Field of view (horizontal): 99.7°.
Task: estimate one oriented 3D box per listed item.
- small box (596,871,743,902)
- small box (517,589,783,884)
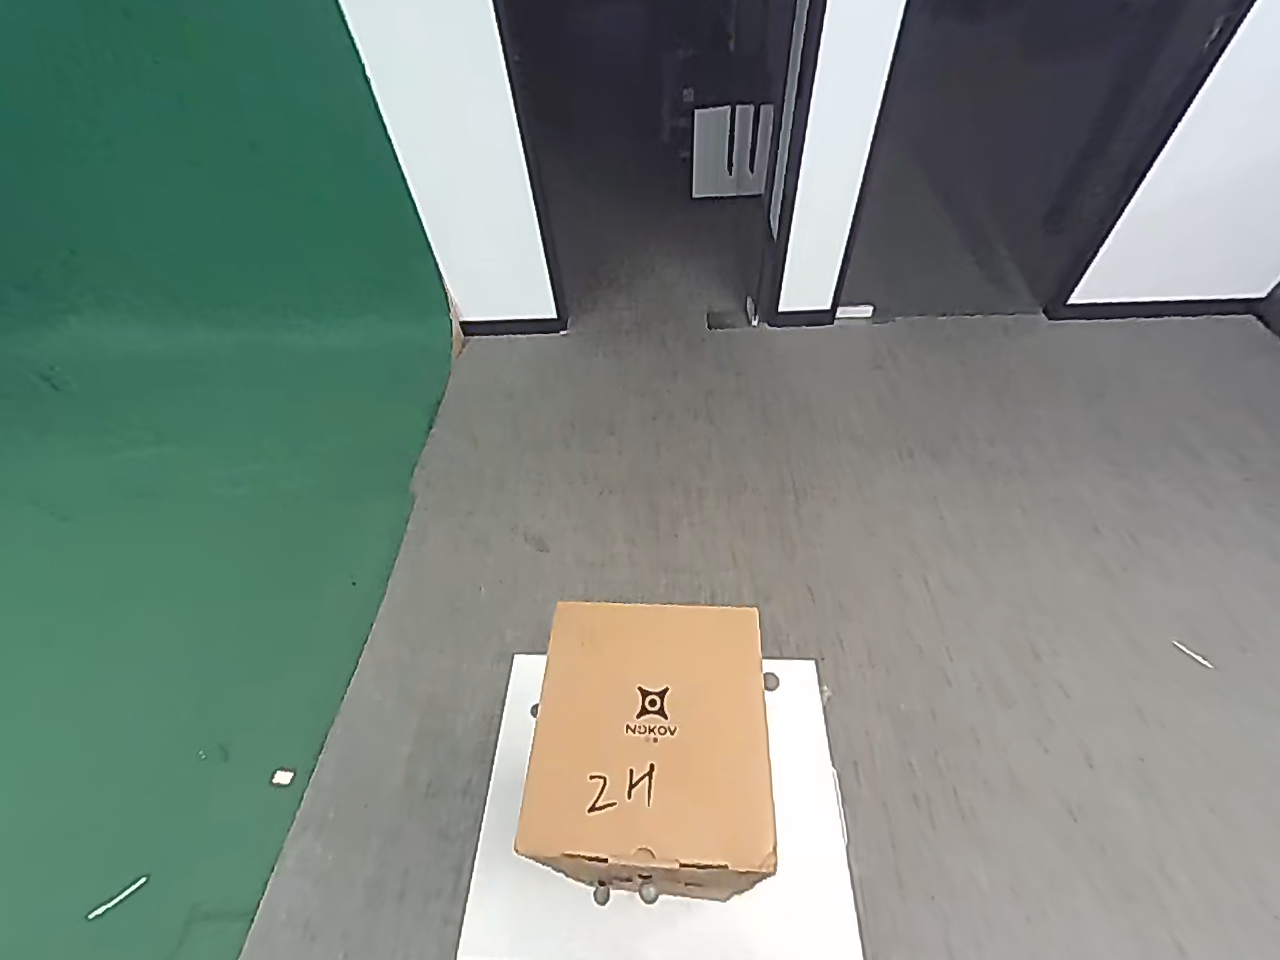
[{"bbox_3d":[0.040,0.418,0.693,0.168,0.176,0.179,2,50,6],"label":"small box"},{"bbox_3d":[0.014,0.208,0.440,0.168,0.176,0.179,0,50,5],"label":"small box"}]
